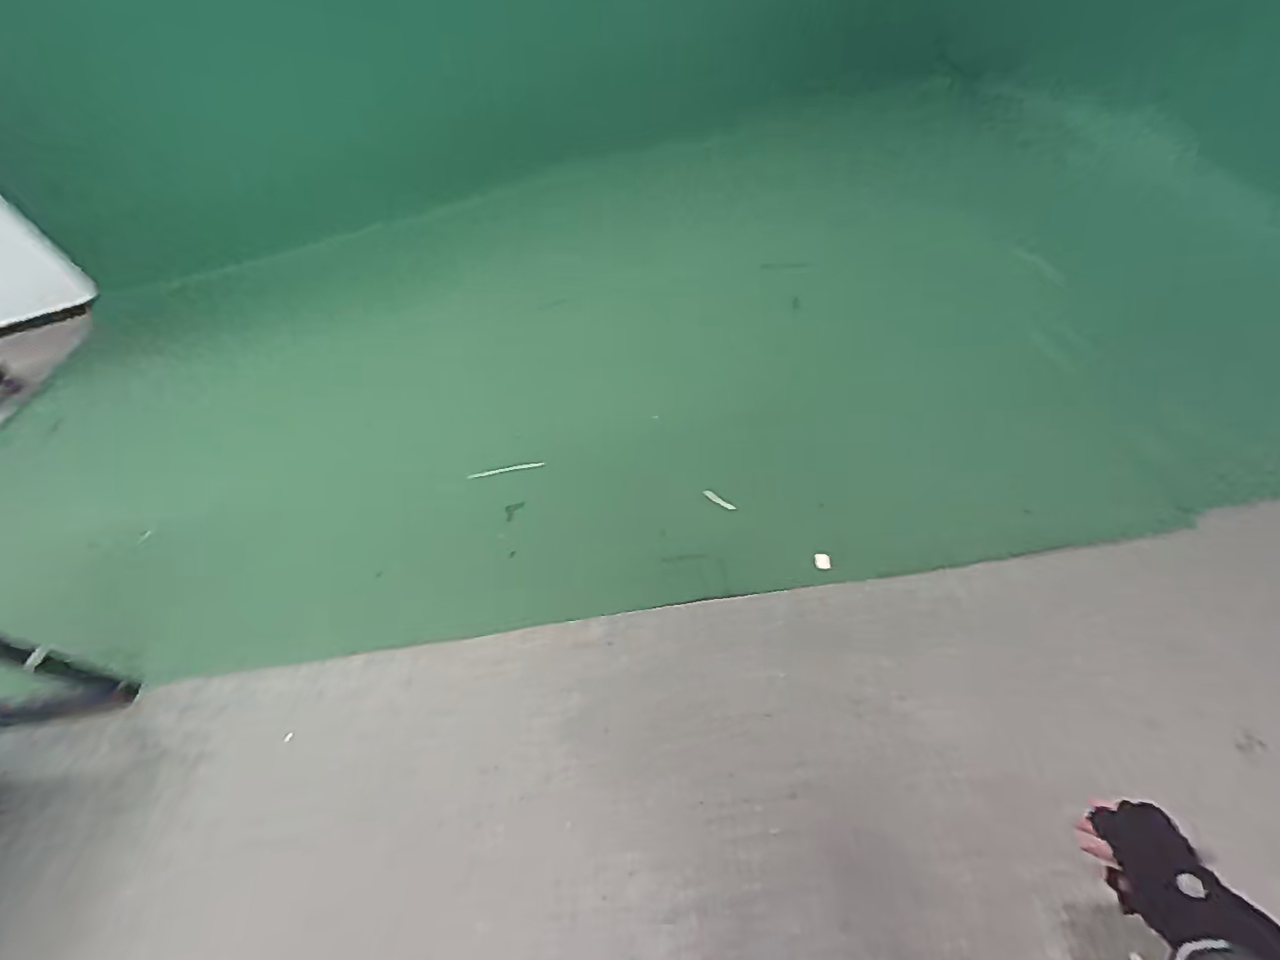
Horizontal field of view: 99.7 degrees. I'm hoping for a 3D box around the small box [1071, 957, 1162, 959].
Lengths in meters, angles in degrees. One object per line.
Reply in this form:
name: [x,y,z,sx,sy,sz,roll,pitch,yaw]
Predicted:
small box: [0.819,0.867,0.839,0.168,0.176,0.179,-10,51,9]
